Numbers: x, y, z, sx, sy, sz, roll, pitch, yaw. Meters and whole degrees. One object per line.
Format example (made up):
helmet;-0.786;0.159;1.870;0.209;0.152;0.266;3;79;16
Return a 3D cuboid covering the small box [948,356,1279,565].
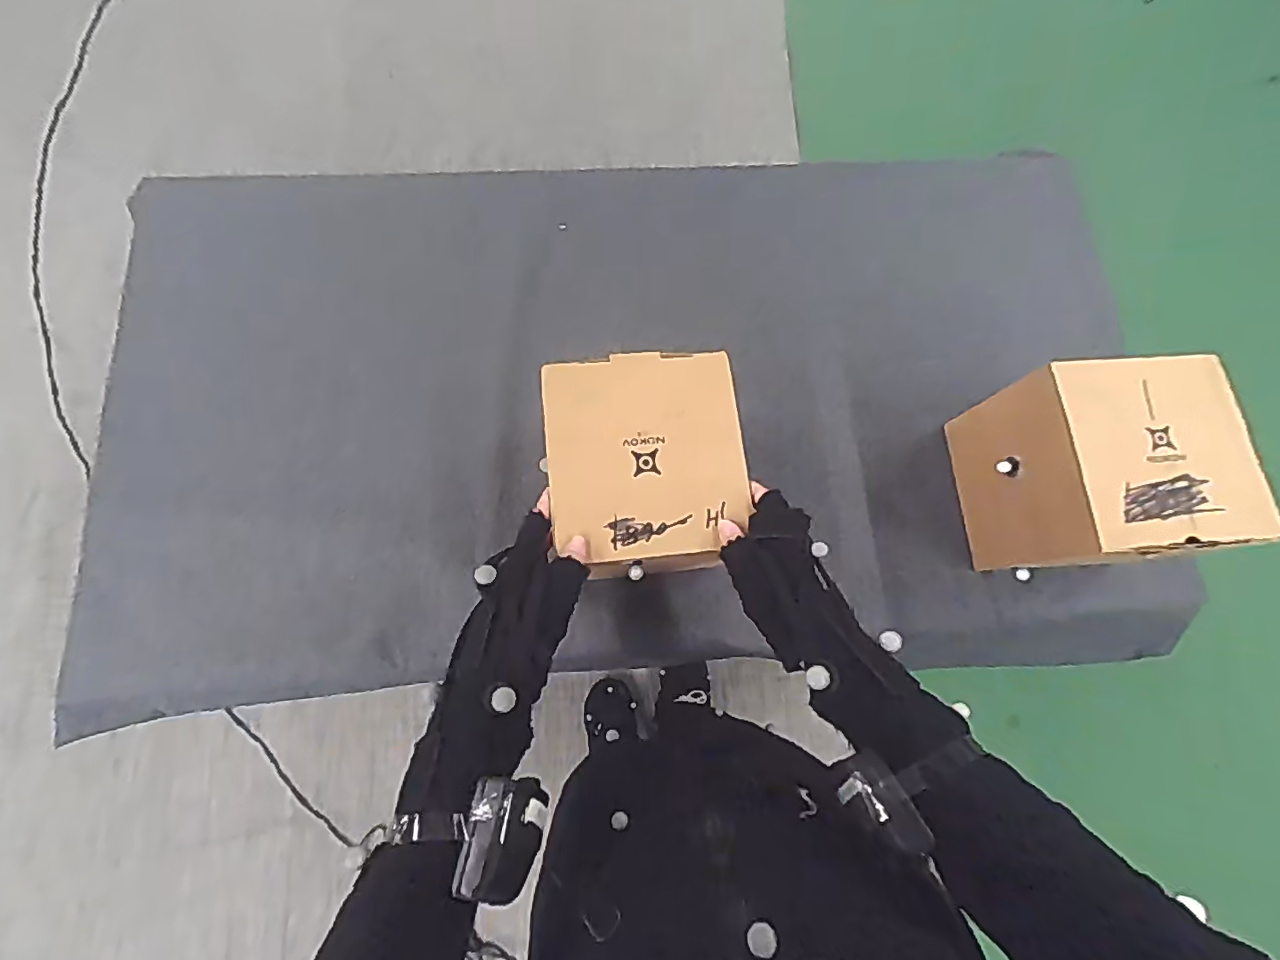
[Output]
small box;0.452;-0.008;0.551;0.168;0.176;0.179;-3;75;-4

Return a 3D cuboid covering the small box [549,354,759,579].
small box;0.003;-0.003;0.527;0.168;0.176;0.179;-5;77;-4
